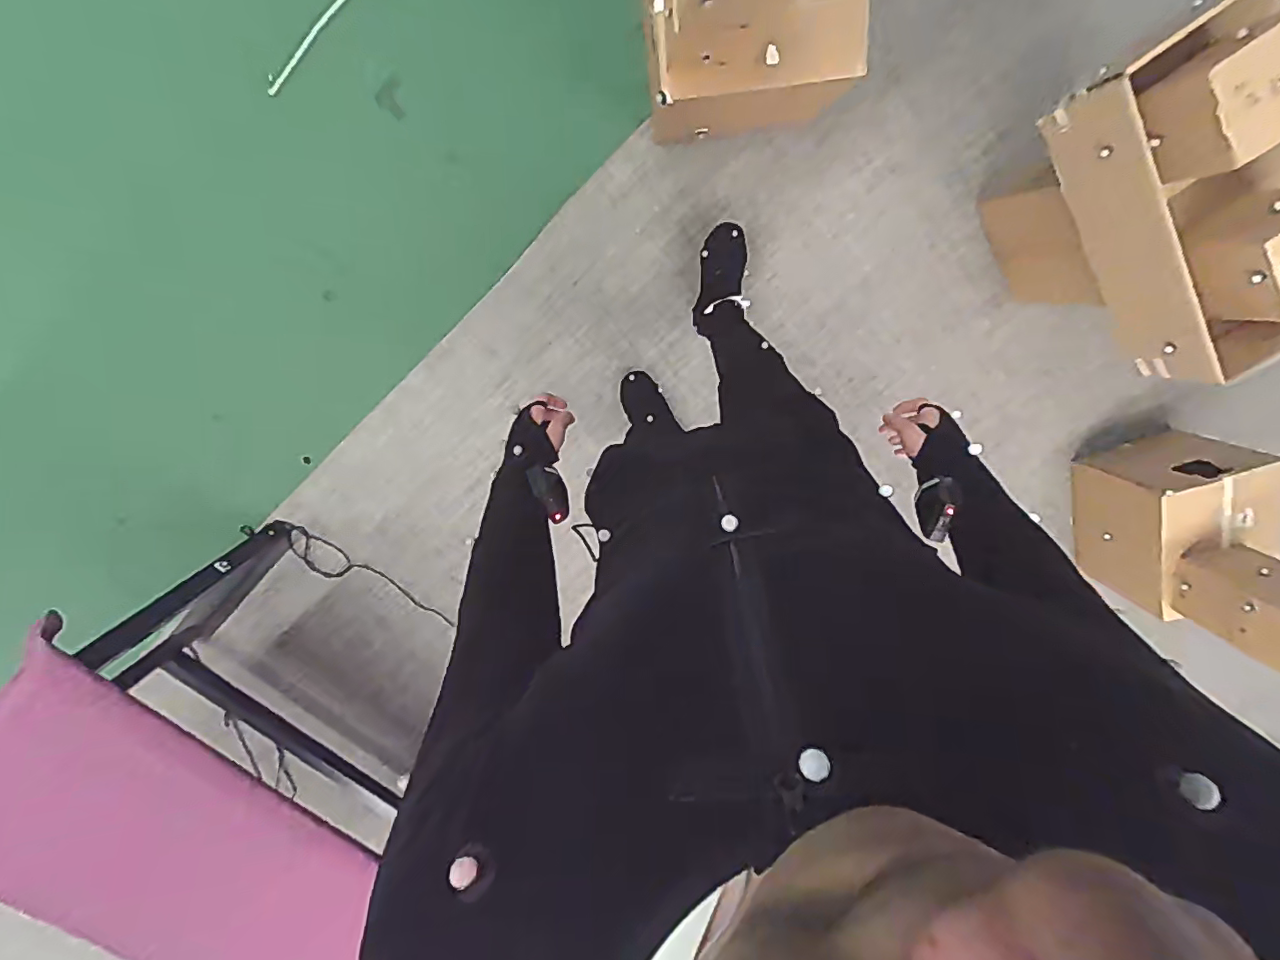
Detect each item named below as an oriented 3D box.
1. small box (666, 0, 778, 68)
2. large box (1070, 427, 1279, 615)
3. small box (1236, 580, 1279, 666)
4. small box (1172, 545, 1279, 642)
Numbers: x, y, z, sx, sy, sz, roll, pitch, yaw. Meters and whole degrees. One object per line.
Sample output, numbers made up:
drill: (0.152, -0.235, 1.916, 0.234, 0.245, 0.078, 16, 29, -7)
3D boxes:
small box: (0.133, -0.848, 0.929, 0.168, 0.176, 0.179, -5, 111, -1)
large box: (1.528, 0.107, 1.567, 0.320, 0.320, 0.408, -18, 108, 4)
small box: (1.516, 0.333, 1.213, 0.179, 0.176, 0.168, -11, 109, 3)
small box: (1.522, 0.280, 1.368, 0.179, 0.176, 0.168, -11, 109, 5)
